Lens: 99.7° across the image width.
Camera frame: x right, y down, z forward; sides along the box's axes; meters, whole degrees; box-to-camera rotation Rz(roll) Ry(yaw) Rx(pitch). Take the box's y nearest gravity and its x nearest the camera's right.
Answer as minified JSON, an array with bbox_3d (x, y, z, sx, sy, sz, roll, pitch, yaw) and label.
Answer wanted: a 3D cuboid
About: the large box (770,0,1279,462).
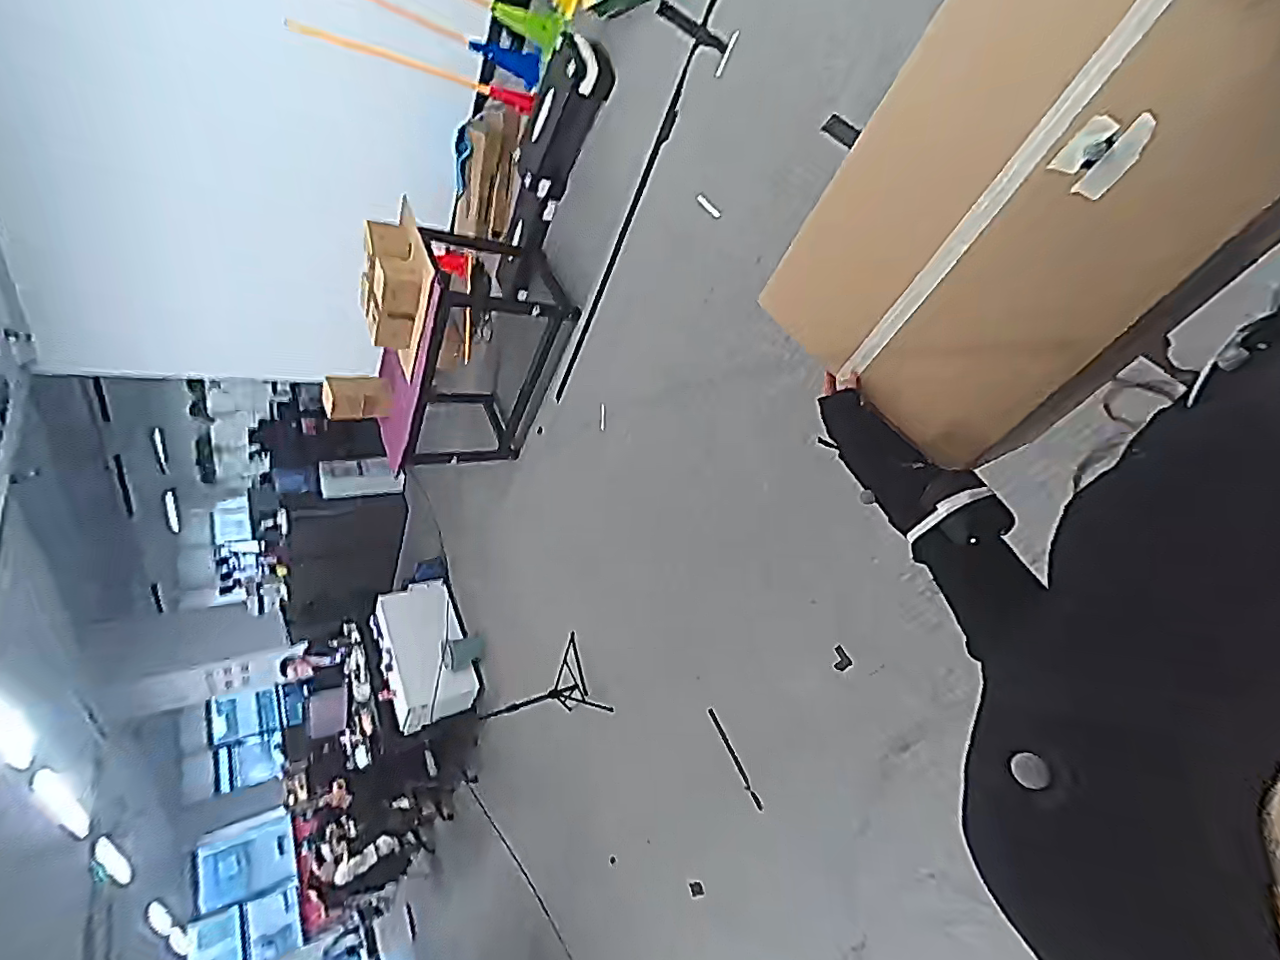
[{"bbox_3d":[0.433,-0.279,0.602,0.320,0.320,0.408,53,132,24],"label":"large box"}]
